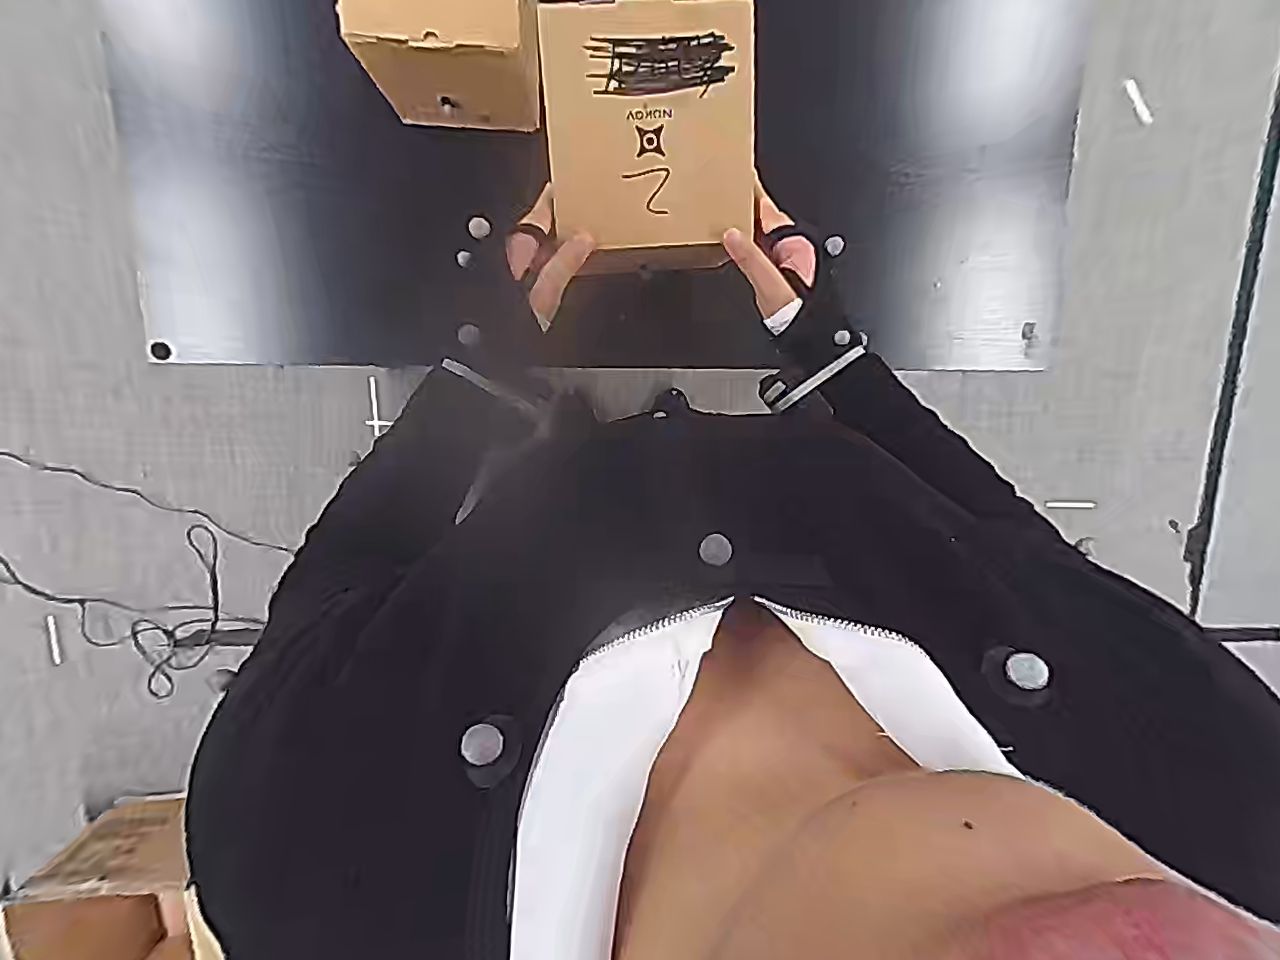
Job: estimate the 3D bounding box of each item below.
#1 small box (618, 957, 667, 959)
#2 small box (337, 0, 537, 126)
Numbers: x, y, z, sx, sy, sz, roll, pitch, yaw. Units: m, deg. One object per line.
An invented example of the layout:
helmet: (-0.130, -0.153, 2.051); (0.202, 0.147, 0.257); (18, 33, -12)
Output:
small box: (0.006, 1.605, 1.648); (0.179, 0.176, 0.168); (2, 97, -3)
small box: (-0.202, -0.515, 0.573); (0.168, 0.176, 0.179); (1, 100, -5)
